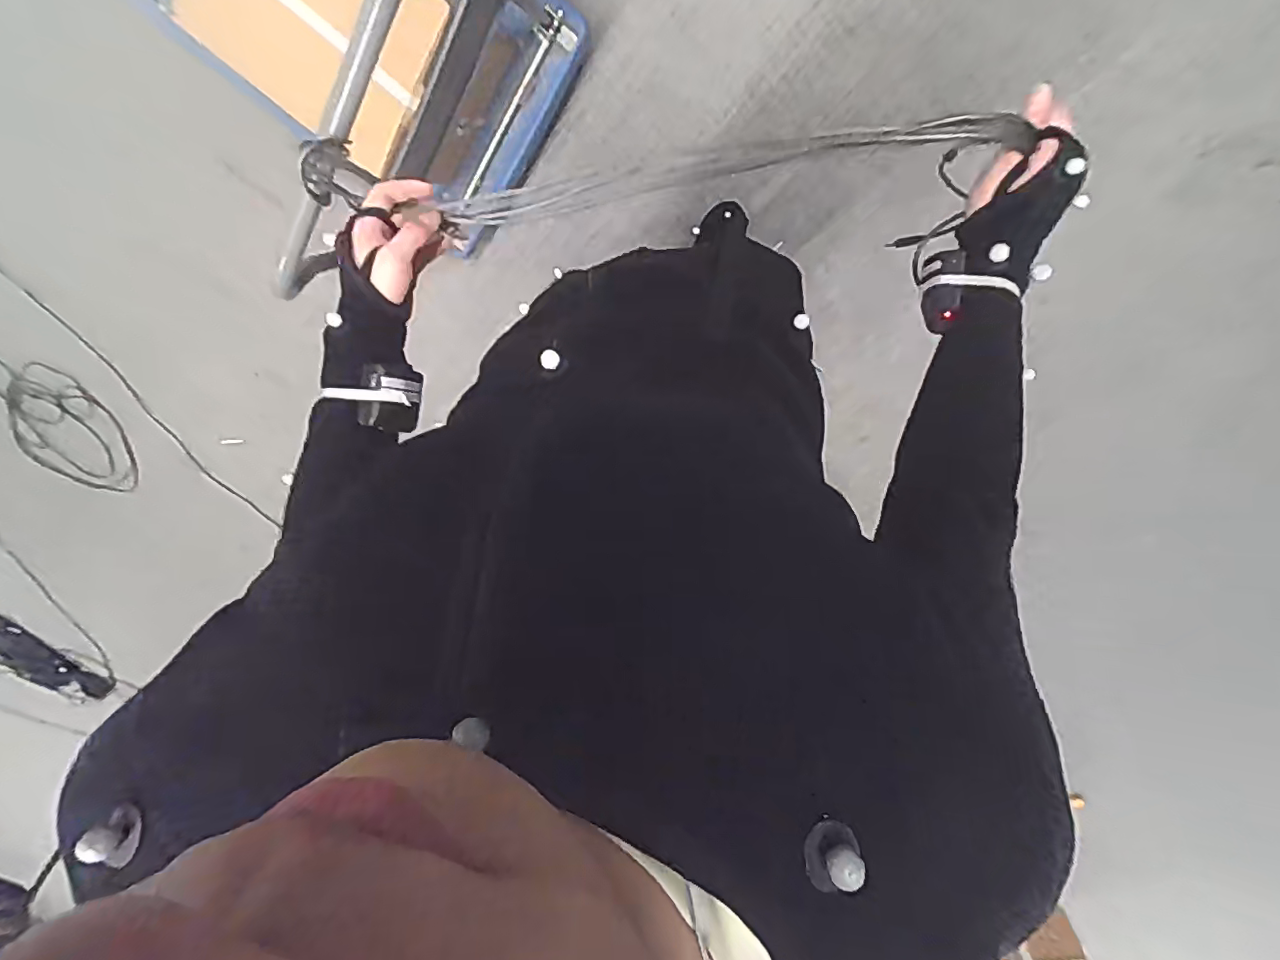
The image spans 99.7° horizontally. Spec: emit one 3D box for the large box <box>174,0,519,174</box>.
[{"bbox_3d":[-0.504,-0.833,0.988,0.408,0.320,0.320,38,118,-11],"label":"large box"}]
